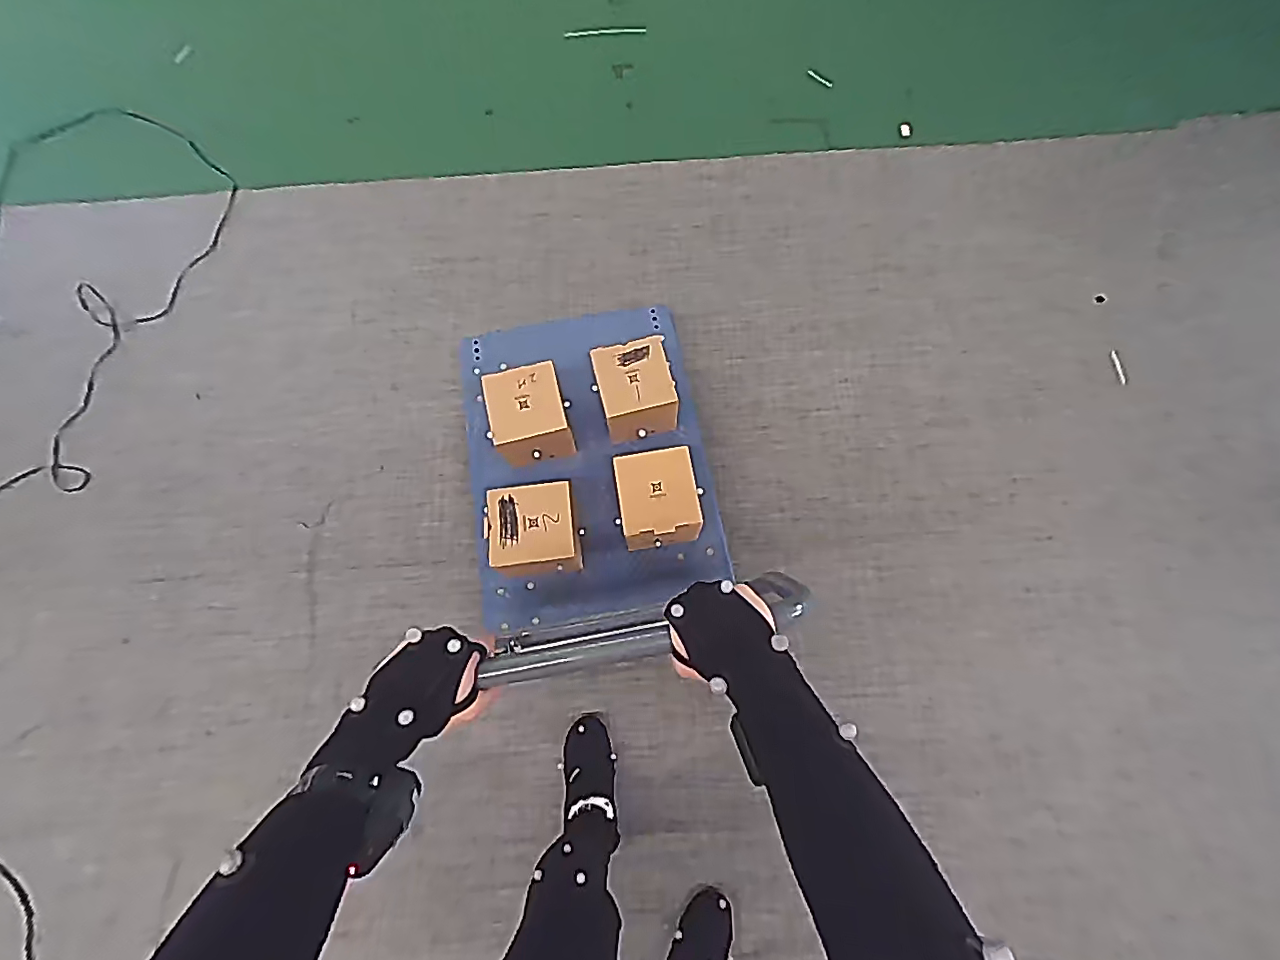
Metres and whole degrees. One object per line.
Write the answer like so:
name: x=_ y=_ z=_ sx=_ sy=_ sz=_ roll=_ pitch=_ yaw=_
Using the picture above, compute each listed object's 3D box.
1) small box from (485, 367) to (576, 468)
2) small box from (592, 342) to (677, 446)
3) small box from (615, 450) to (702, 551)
small box: x=-0.257 y=-0.140 z=1.295 sx=0.168 sy=0.176 sz=0.179 roll=-14 pitch=72 yaw=-4
small box: x=-0.013 y=-0.203 z=1.309 sx=0.168 sy=0.176 sz=0.179 roll=-14 pitch=74 yaw=-2
small box: x=0.038 y=0.051 z=1.229 sx=0.168 sy=0.176 sz=0.179 roll=-10 pitch=73 yaw=-2
